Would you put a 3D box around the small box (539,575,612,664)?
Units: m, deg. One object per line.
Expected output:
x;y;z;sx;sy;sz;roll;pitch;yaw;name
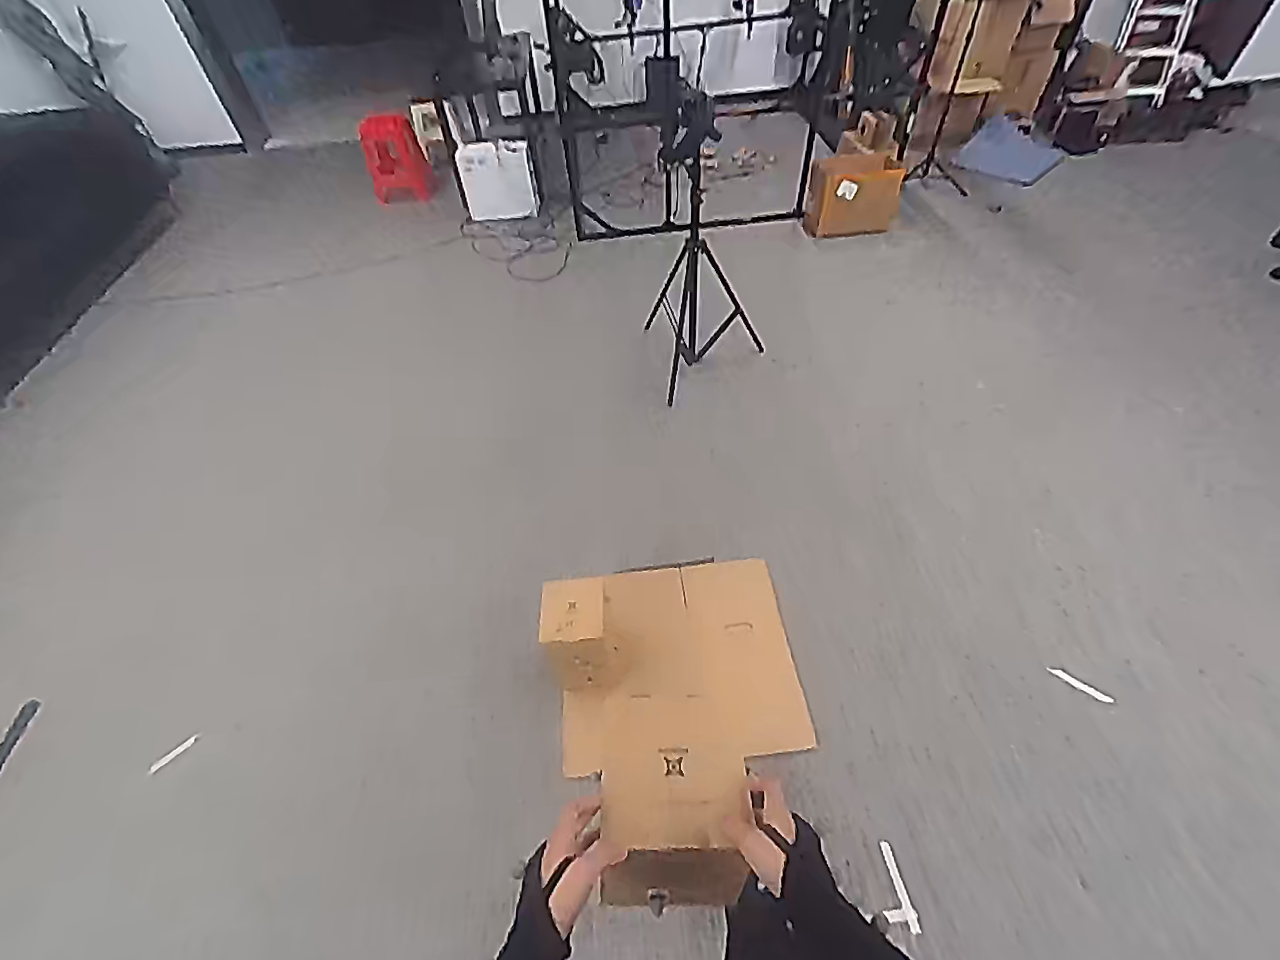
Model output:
-0.168;0.378;1.457;0.168;0.176;0.179;-4;50;2;small box

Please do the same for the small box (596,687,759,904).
0.034;0.378;0.655;0.168;0.176;0.179;1;35;-3;small box

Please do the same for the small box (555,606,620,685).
-0.147;0.488;1.580;0.168;0.176;0.179;-5;51;1;small box
